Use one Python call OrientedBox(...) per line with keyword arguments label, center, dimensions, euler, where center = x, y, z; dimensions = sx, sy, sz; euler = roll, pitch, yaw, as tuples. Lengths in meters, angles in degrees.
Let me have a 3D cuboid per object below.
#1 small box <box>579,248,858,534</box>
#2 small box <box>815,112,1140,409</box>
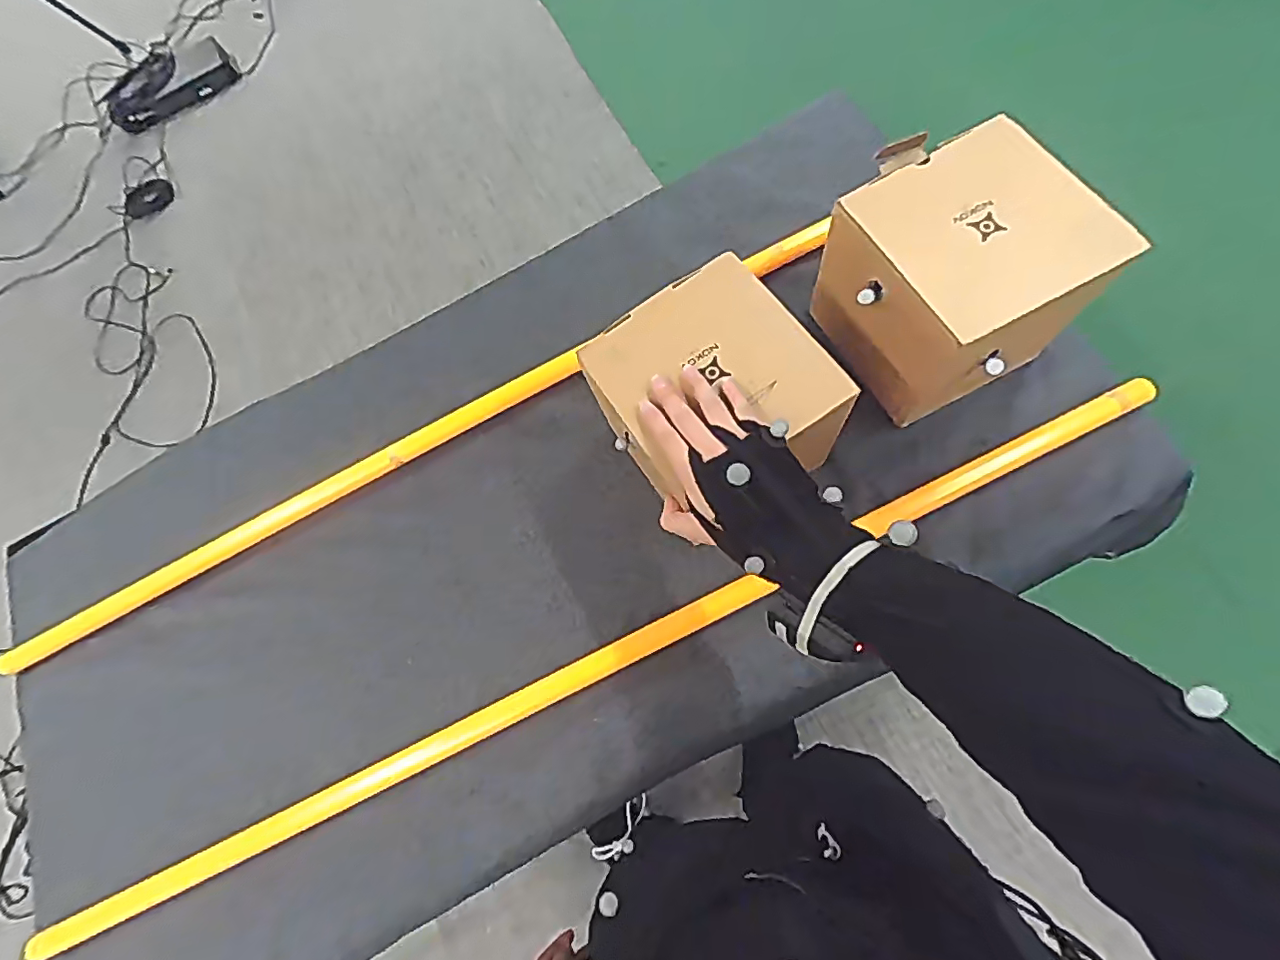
OrientedBox(label="small box", center=(0.069, -0.071, 0.517), dimensions=(0.168, 0.176, 0.179), euler=(-34, 71, -2))
OrientedBox(label="small box", center=(0.291, -0.189, 0.518), dimensions=(0.168, 0.176, 0.179), euler=(-28, 69, 0))
